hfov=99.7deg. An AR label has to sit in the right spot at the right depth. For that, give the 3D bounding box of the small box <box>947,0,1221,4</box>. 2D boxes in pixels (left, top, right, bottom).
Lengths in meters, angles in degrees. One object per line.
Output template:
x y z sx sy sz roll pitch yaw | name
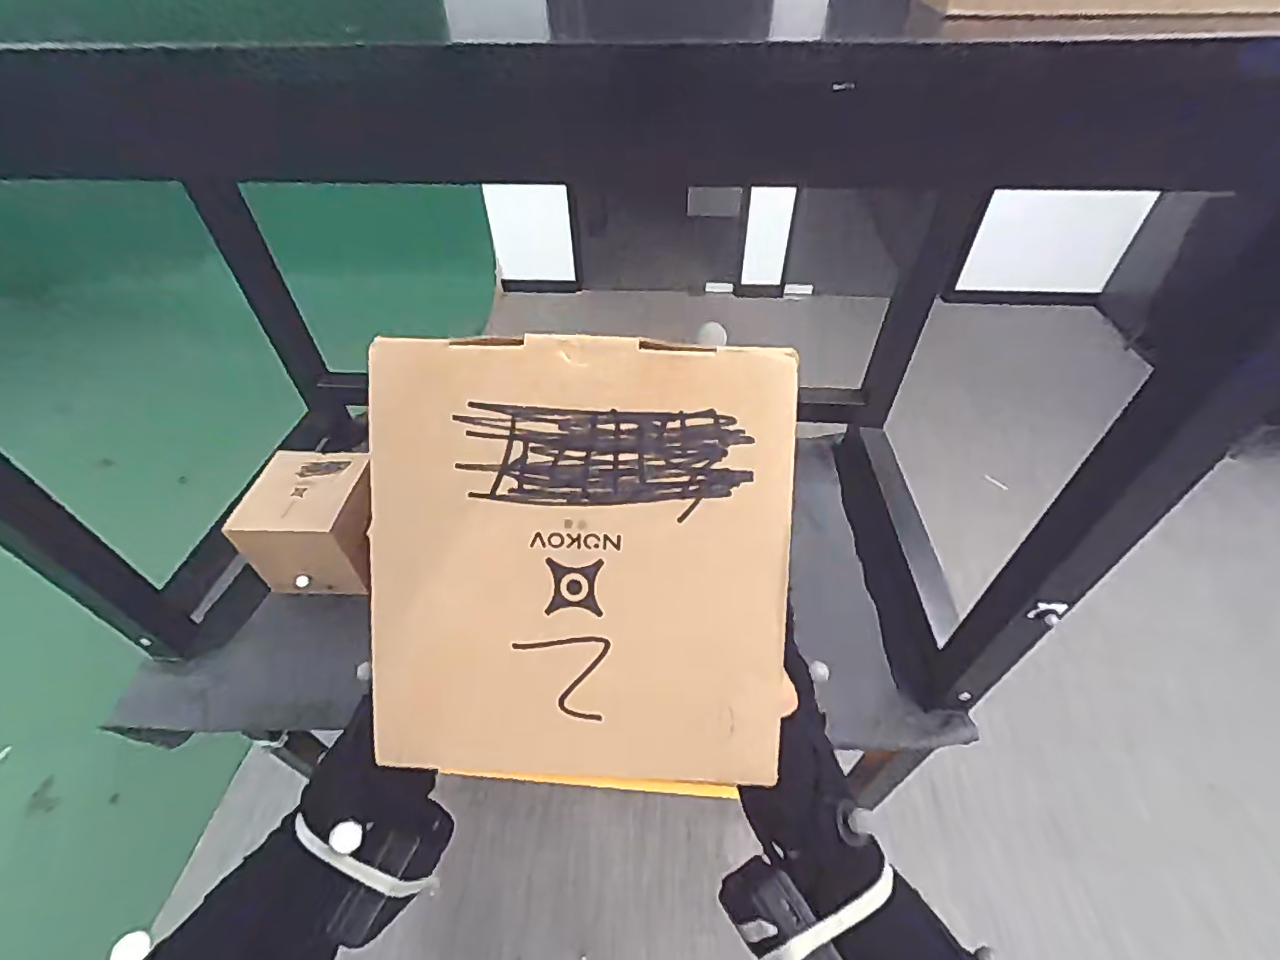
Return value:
0.252 -0.358 0.274 0.168 0.176 0.179 10 46 11 | small box

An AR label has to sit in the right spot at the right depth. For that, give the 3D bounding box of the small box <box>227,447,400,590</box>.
-0.528 0.063 0.911 0.168 0.176 0.179 1 46 2 | small box
